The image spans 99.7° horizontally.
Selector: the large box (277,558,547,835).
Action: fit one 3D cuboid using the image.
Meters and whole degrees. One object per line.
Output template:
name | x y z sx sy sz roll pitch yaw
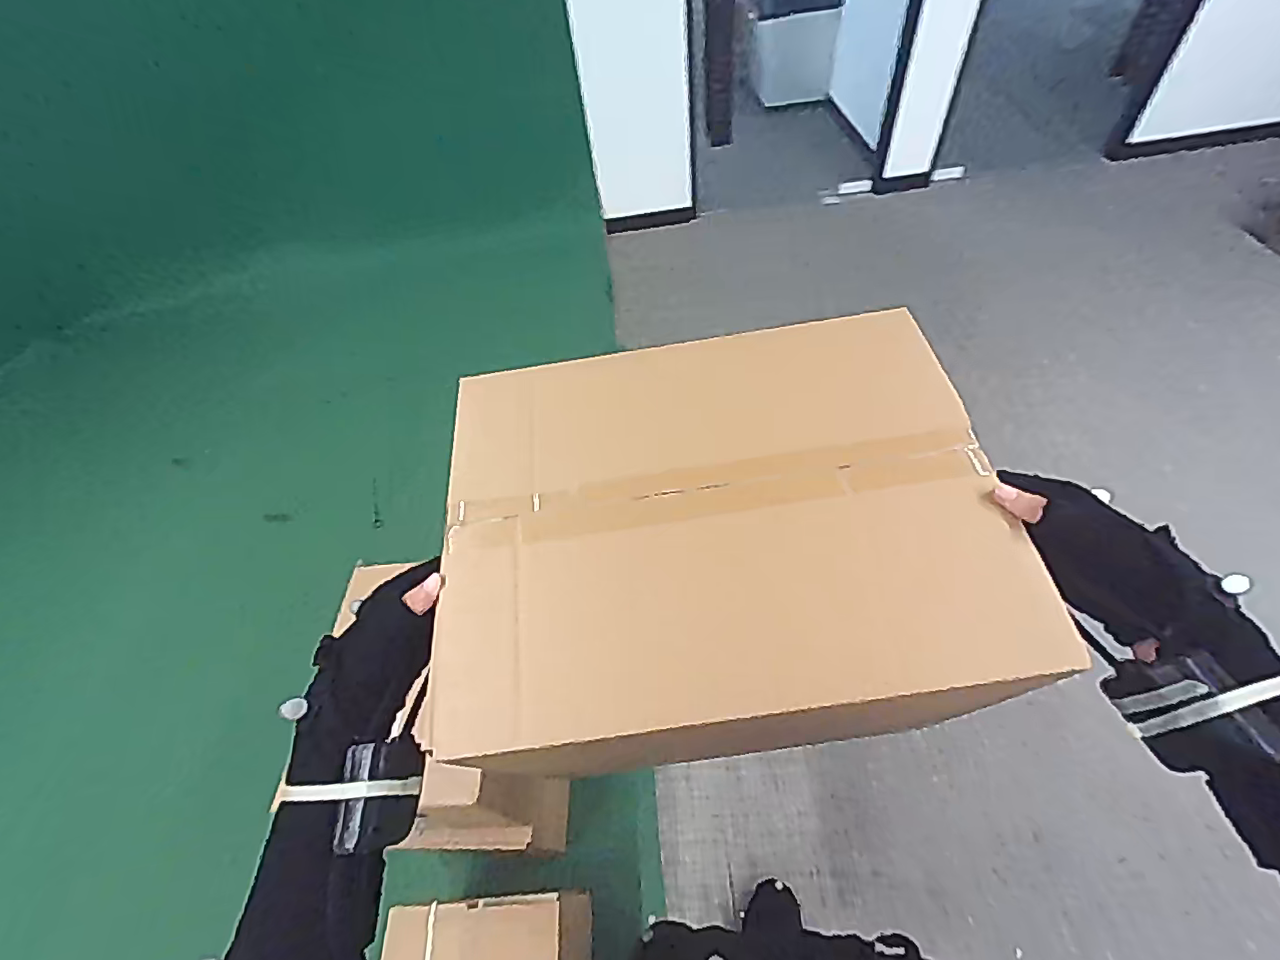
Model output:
large box | -0.371 0.407 1.014 0.320 0.320 0.408 -4 51 3
